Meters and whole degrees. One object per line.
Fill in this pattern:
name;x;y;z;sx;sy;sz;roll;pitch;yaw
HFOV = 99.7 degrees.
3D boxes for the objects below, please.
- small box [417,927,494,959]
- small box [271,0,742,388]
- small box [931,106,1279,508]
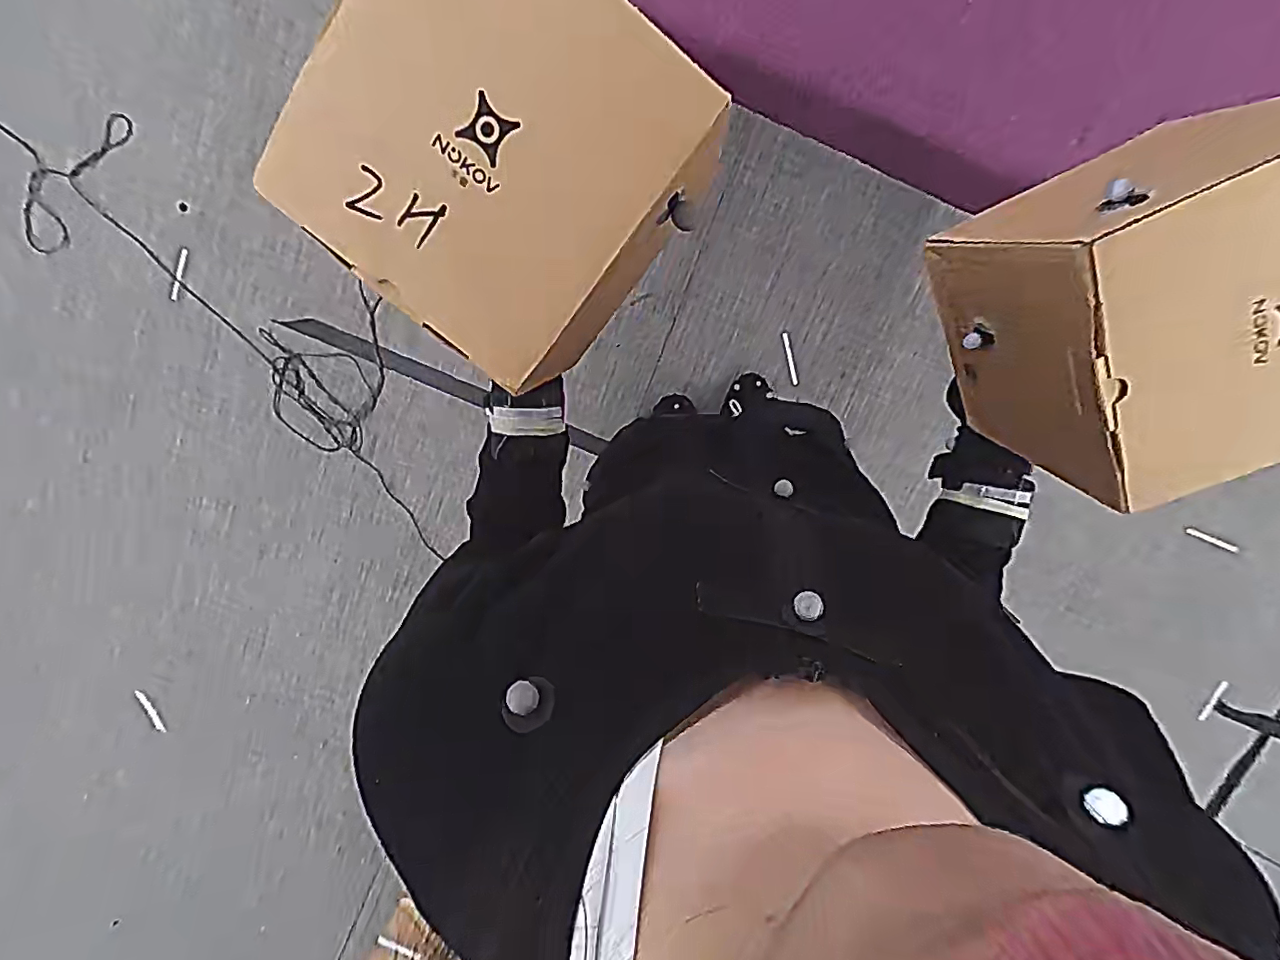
small box;-0.496;1.297;1.371;0.179;0.176;0.168;30;100;-3
small box;-0.063;-0.184;0.332;0.168;0.176;0.179;38;107;-7
small box;0.328;-0.116;0.349;0.179;0.176;0.168;-24;112;11
